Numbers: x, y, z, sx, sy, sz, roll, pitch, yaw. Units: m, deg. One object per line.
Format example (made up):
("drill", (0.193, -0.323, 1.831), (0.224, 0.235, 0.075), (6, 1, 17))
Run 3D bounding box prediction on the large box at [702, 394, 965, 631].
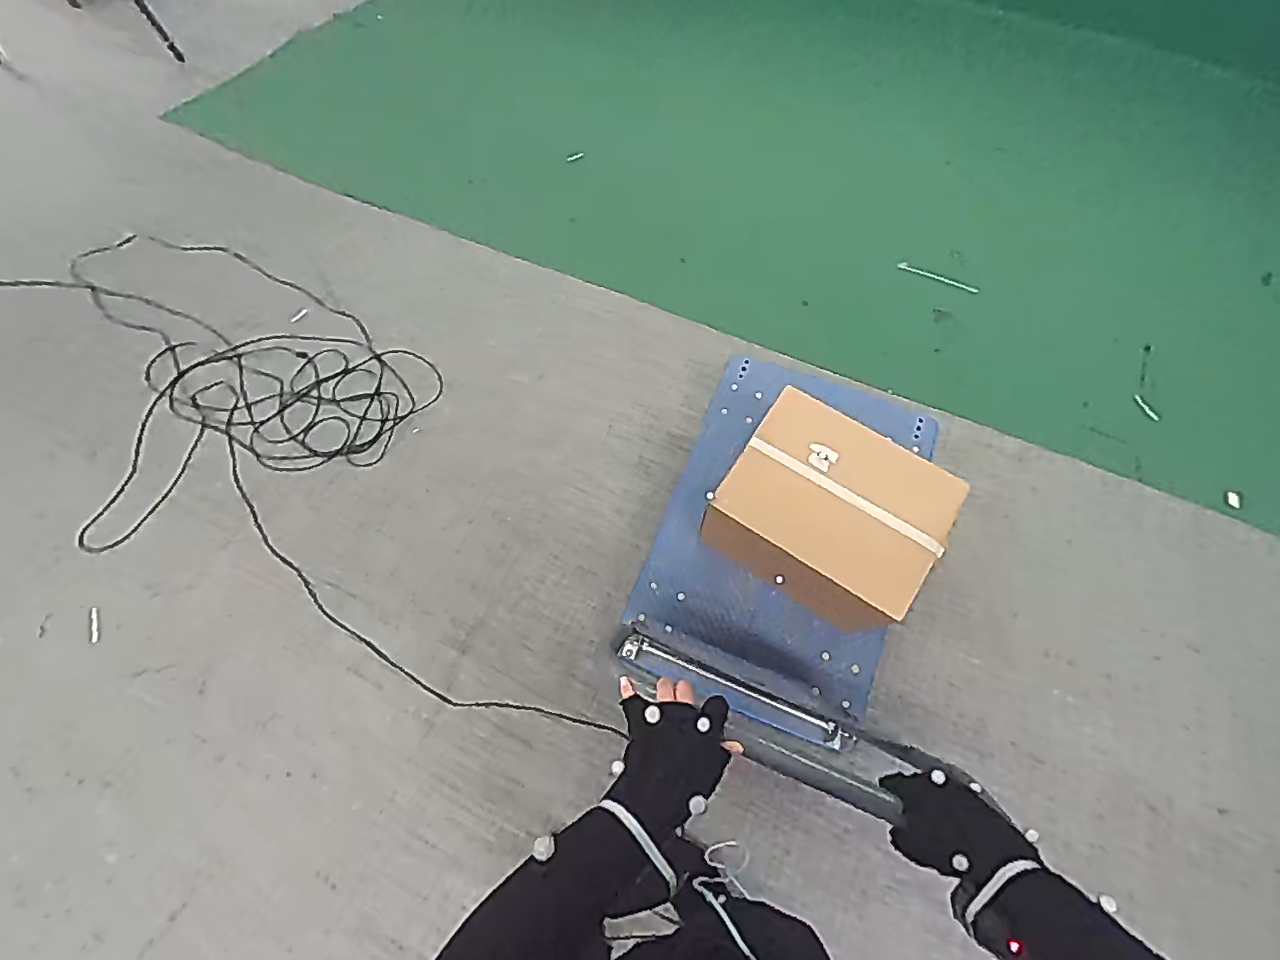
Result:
("large box", (0.389, 0.087, 1.184), (0.408, 0.320, 0.320), (32, 75, 13))
